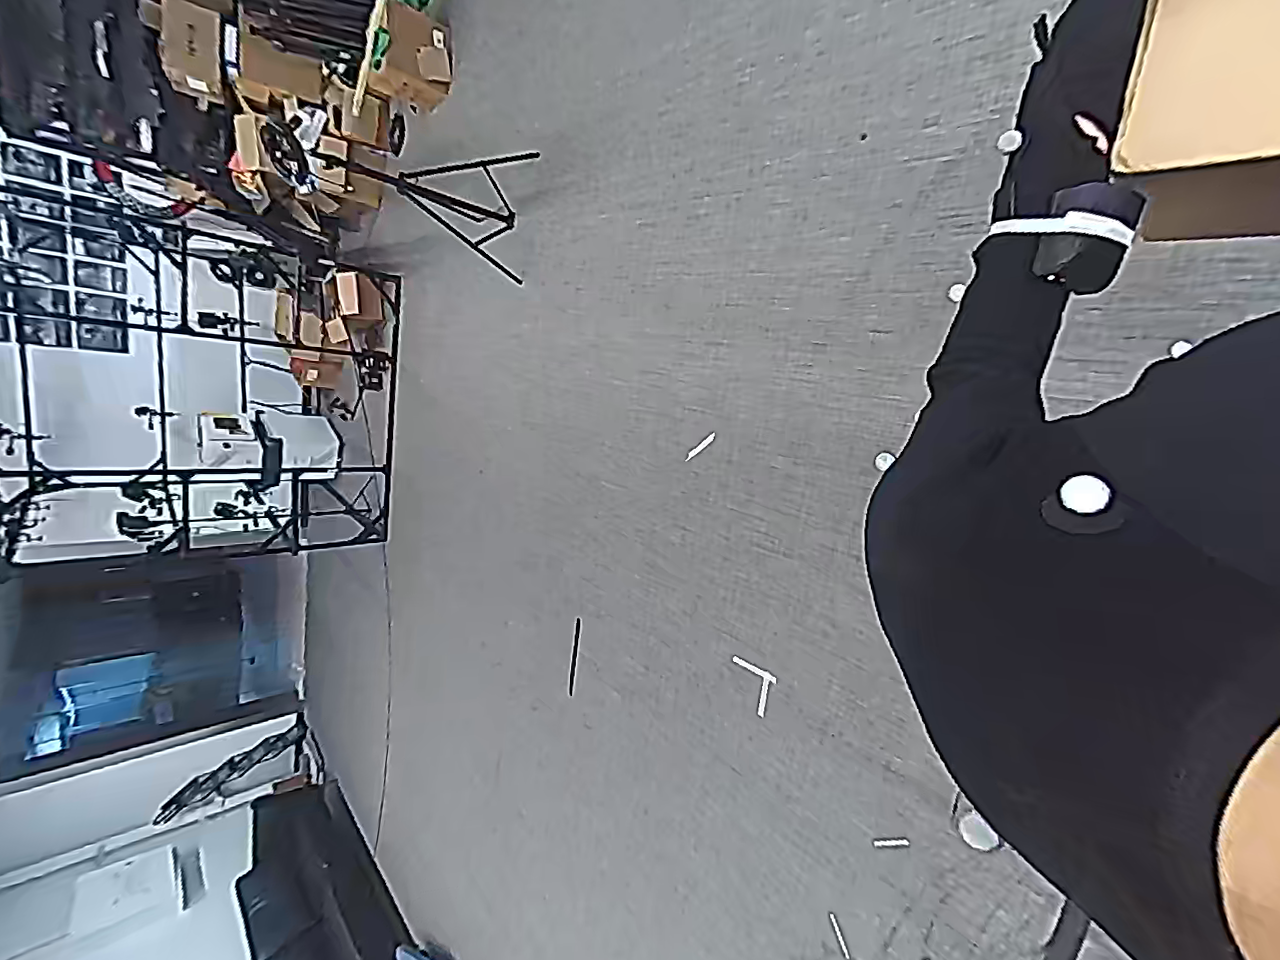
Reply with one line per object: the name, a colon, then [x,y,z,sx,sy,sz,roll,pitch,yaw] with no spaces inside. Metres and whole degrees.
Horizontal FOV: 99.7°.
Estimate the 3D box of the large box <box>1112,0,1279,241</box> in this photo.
large box: [0.597,-0.352,0.333,0.408,0.320,0.320,18,111,42]
